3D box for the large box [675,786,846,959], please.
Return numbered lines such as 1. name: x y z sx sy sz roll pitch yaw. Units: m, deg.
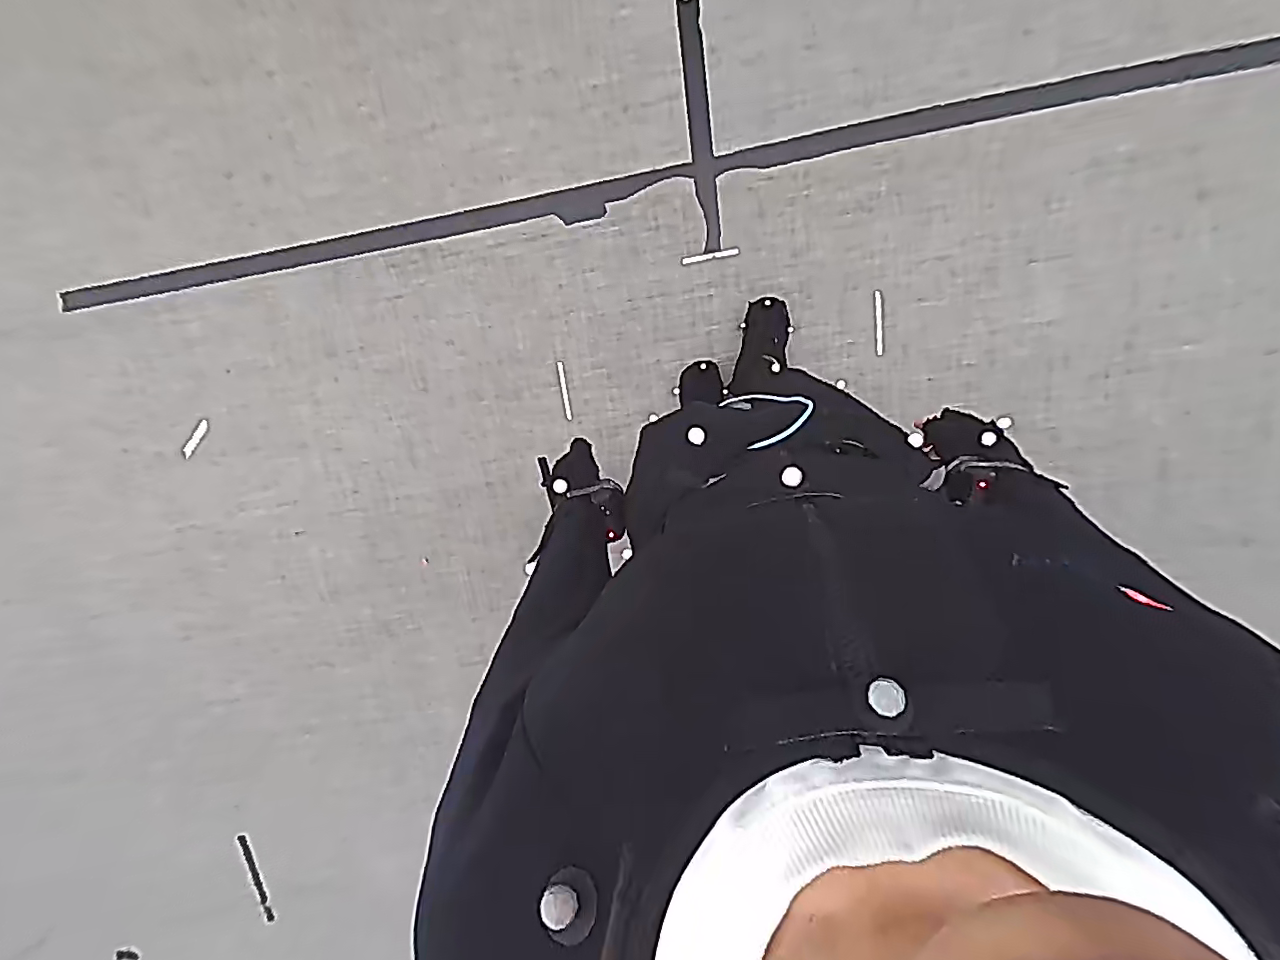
1. large box: 0.336 1.175 1.596 0.408 0.320 0.320 -15 104 7
